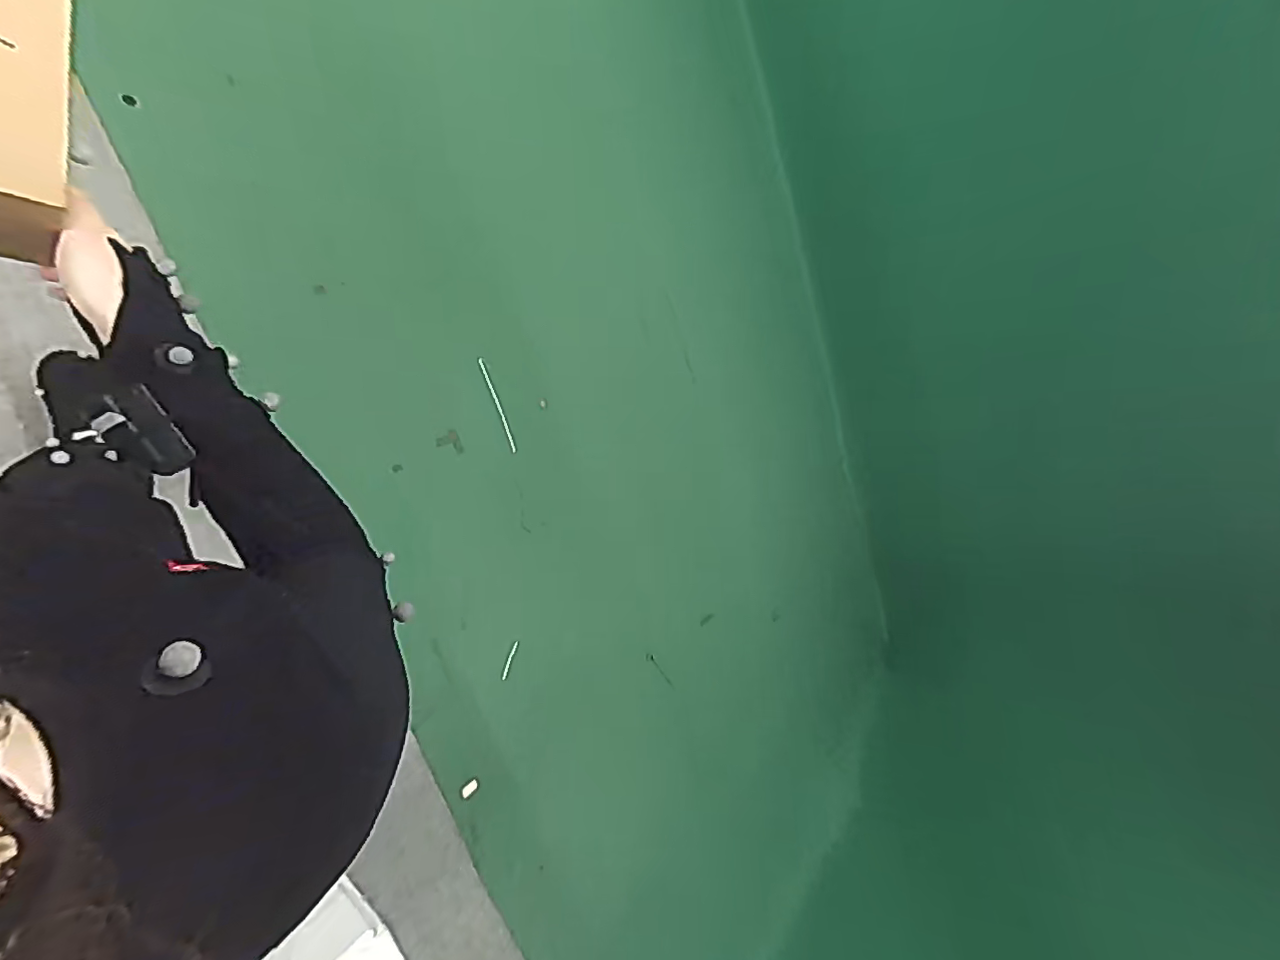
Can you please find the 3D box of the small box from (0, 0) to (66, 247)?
[{"bbox_3d":[-0.447,-0.249,0.296,0.179,0.176,0.168,1,92,-50],"label":"small box"}]
